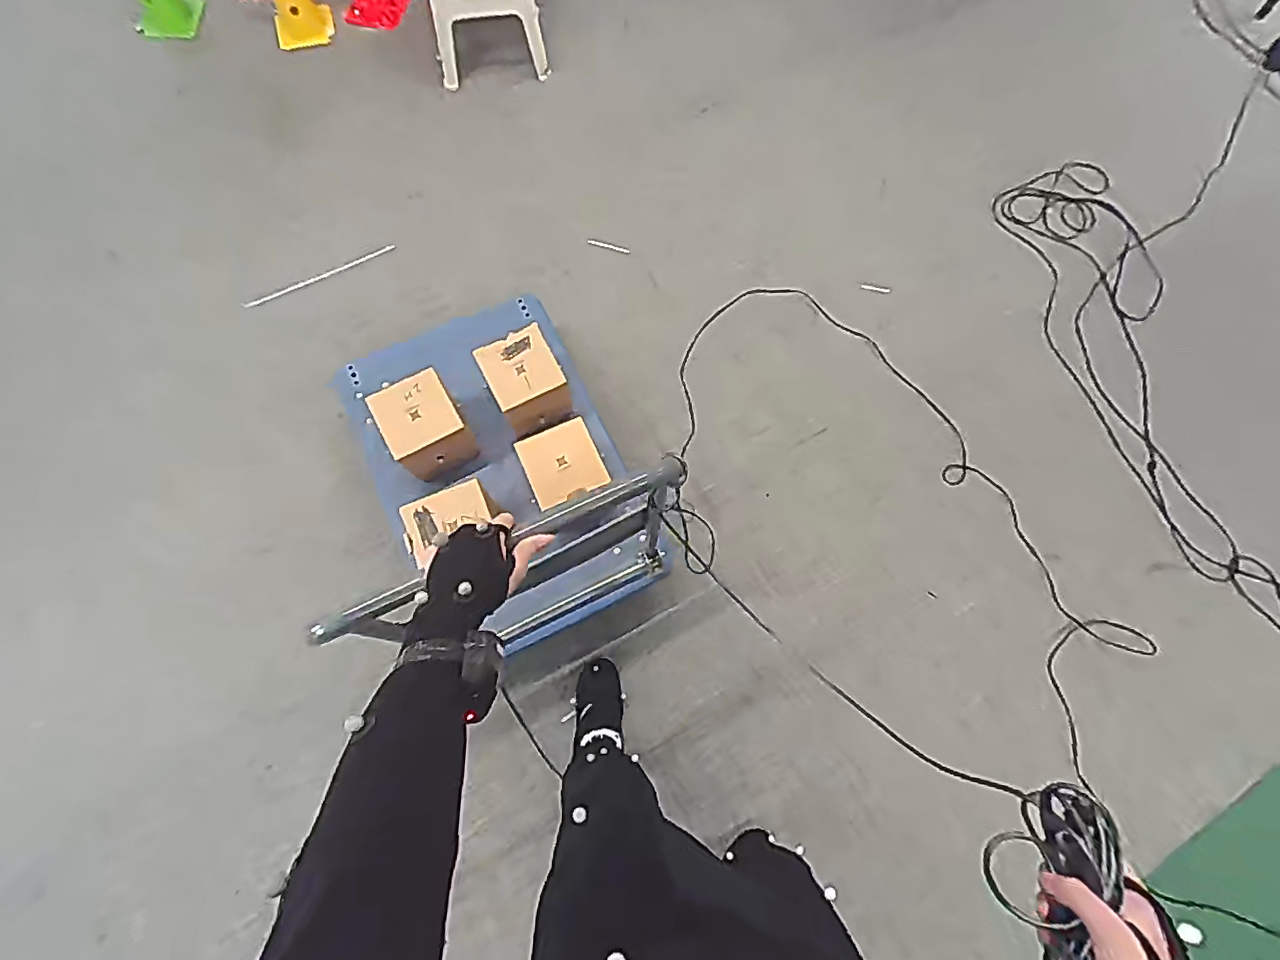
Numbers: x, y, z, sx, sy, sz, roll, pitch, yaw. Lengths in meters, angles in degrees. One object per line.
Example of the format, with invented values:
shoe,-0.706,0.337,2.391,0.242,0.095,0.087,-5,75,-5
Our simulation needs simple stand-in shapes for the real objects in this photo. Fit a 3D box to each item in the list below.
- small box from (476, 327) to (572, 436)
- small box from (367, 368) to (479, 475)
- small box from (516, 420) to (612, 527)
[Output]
small box,-0.279,-0.236,1.329,0.168,0.176,0.179,-26,77,-9
small box,-0.506,-0.127,1.285,0.168,0.176,0.179,-28,76,-11
small box,-0.174,-0.009,1.265,0.168,0.176,0.179,-23,76,-9
